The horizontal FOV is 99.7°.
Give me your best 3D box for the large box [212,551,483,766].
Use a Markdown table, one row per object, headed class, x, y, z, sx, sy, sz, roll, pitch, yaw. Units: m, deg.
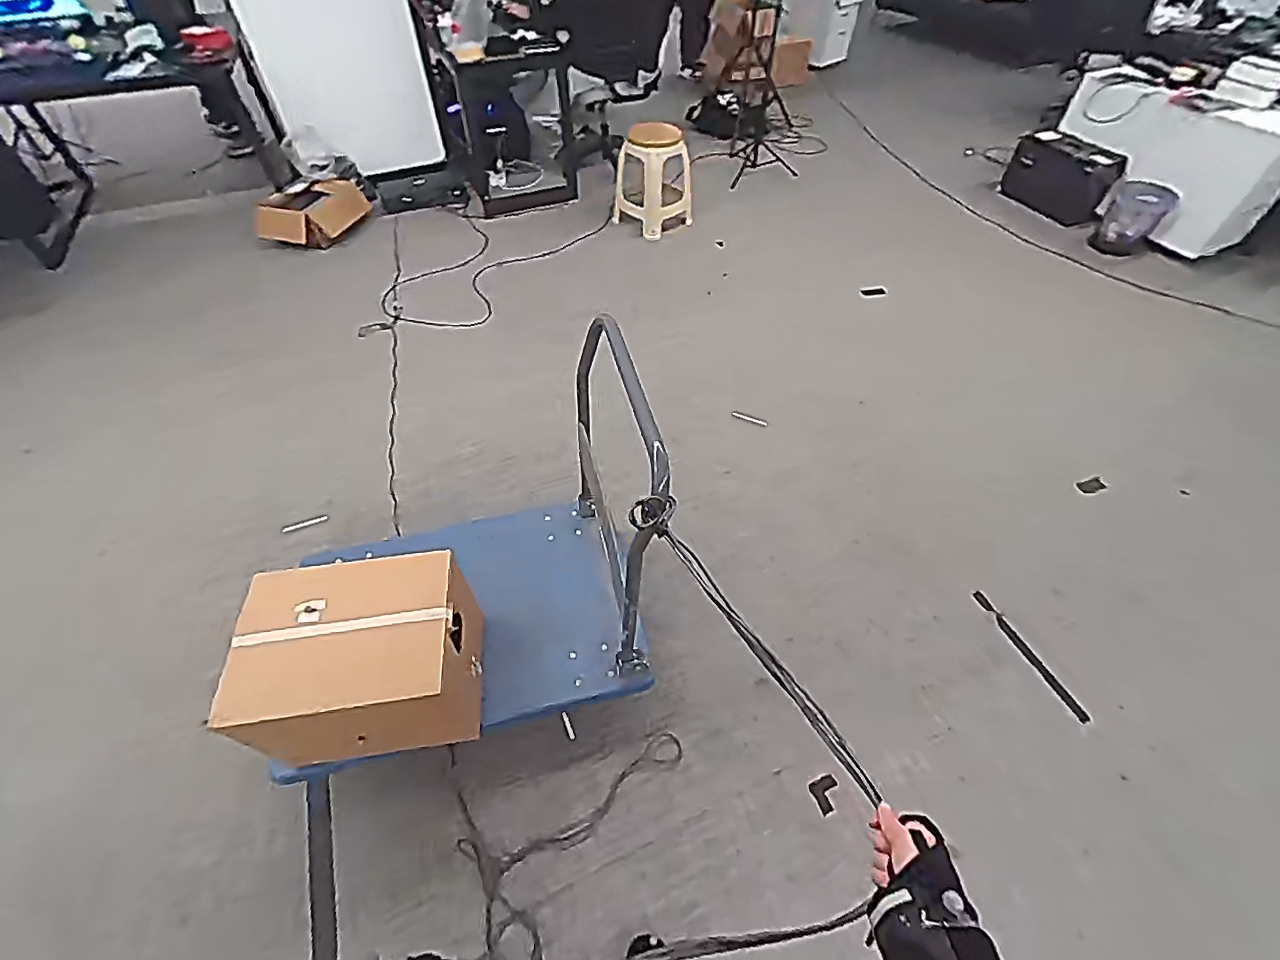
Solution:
| class | x | y | z | sx | sy | sz | roll | pitch | yaw |
| --- | --- | --- | --- | --- | --- | --- | --- | --- | --- |
| large box | -0.570 | 0.386 | 1.162 | 0.408 | 0.320 | 0.320 | -7 | 50 | -5 |
